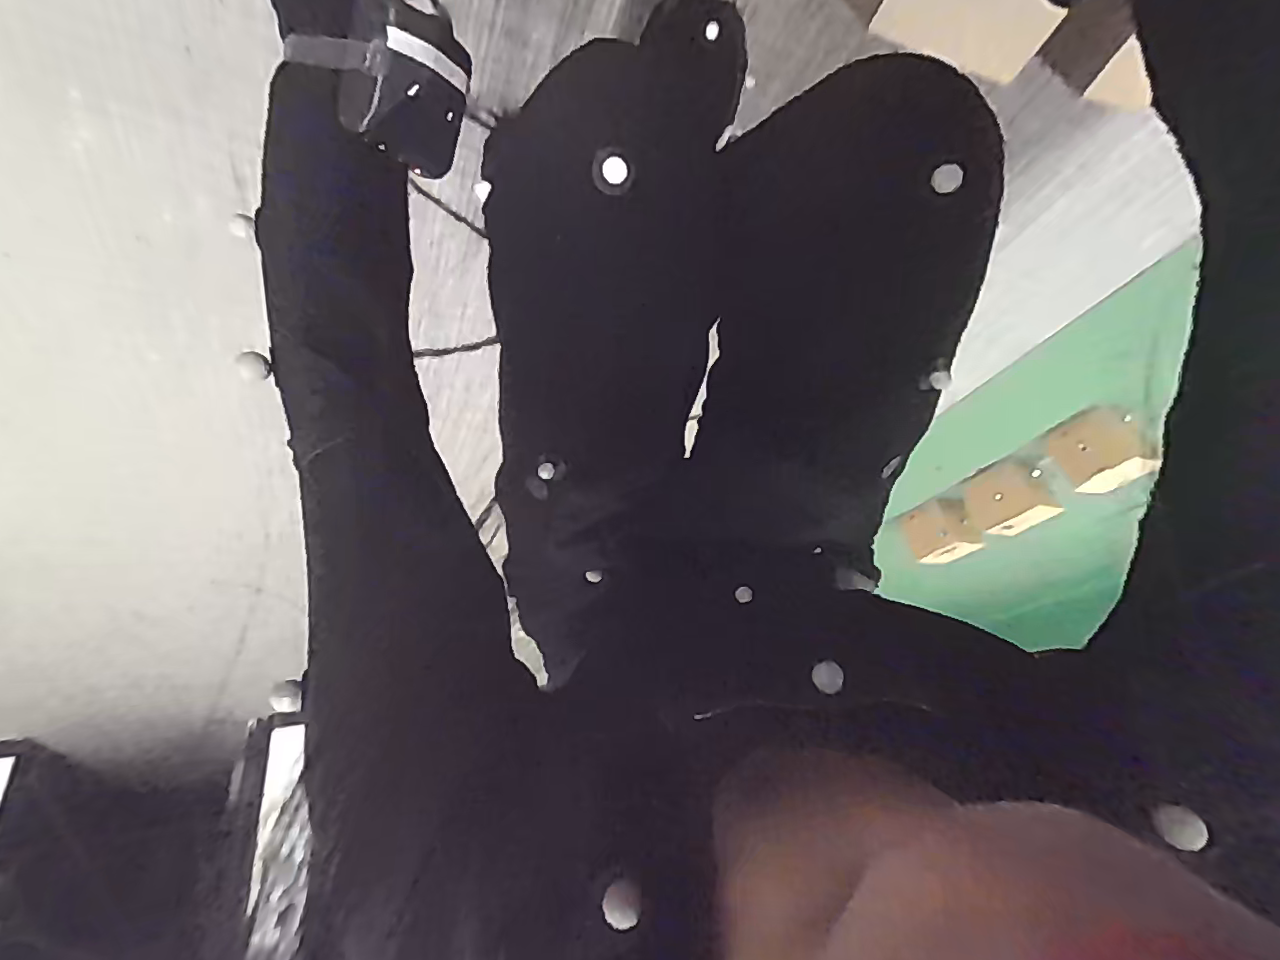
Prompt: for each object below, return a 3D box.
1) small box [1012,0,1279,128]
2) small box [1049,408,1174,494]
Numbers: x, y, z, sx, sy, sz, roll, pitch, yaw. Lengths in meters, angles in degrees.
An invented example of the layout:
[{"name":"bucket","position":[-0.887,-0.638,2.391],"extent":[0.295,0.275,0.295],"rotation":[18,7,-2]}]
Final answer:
[{"name":"small box","position":[0.501,-0.467,0.496],"extent":[0.168,0.176,0.179],"rotation":[-2,150,-16]},{"name":"small box","position":[1.279,-0.080,1.479],"extent":[0.179,0.176,0.168],"rotation":[5,148,-25]}]
